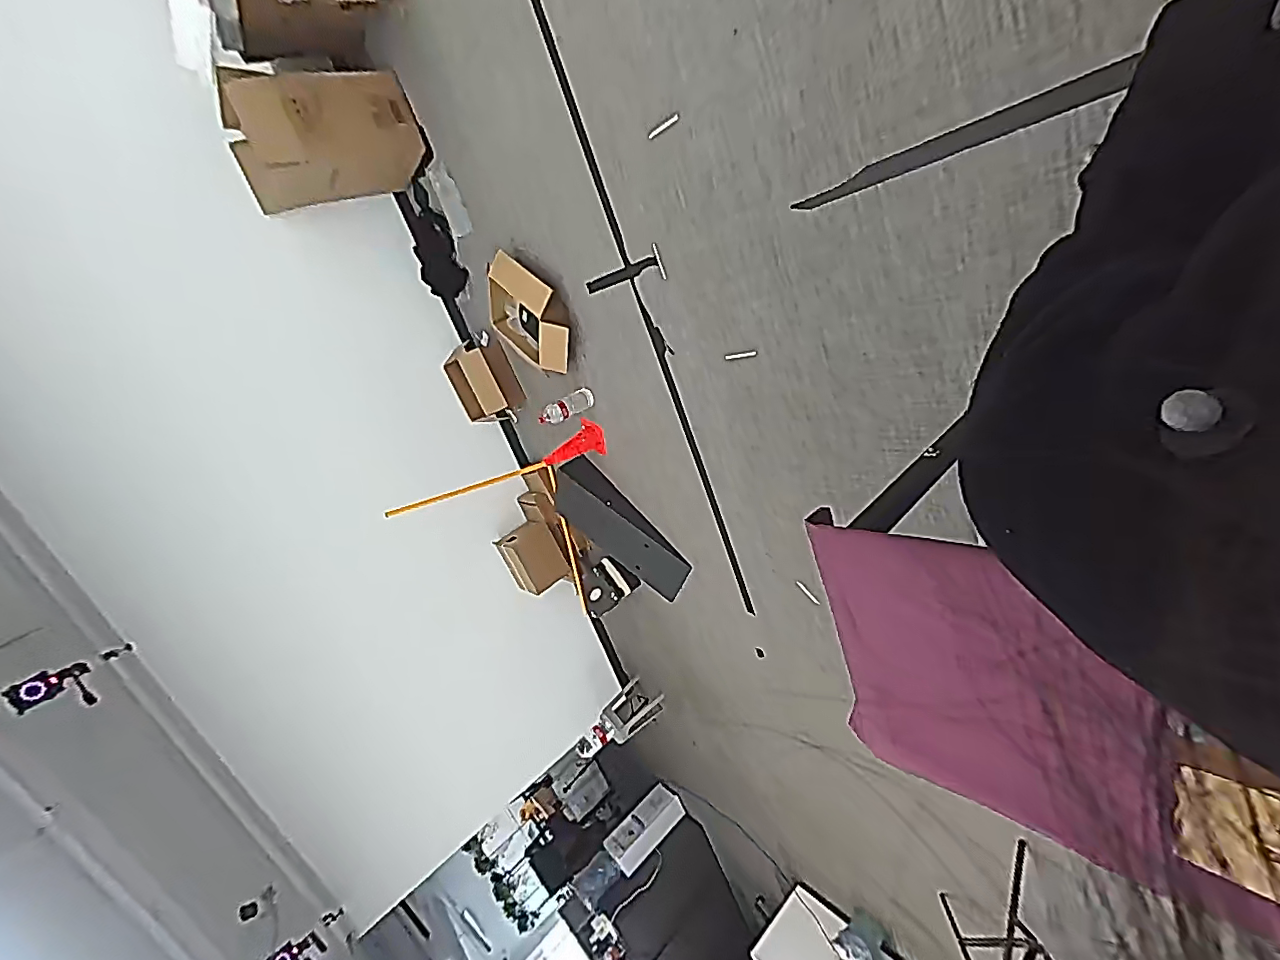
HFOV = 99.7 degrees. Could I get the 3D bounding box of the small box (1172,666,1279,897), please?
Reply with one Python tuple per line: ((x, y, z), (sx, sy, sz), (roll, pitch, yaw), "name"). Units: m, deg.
((0.745, 0.355, 0.620), (0.168, 0.176, 0.179), (9, 126, 51), "small box")
